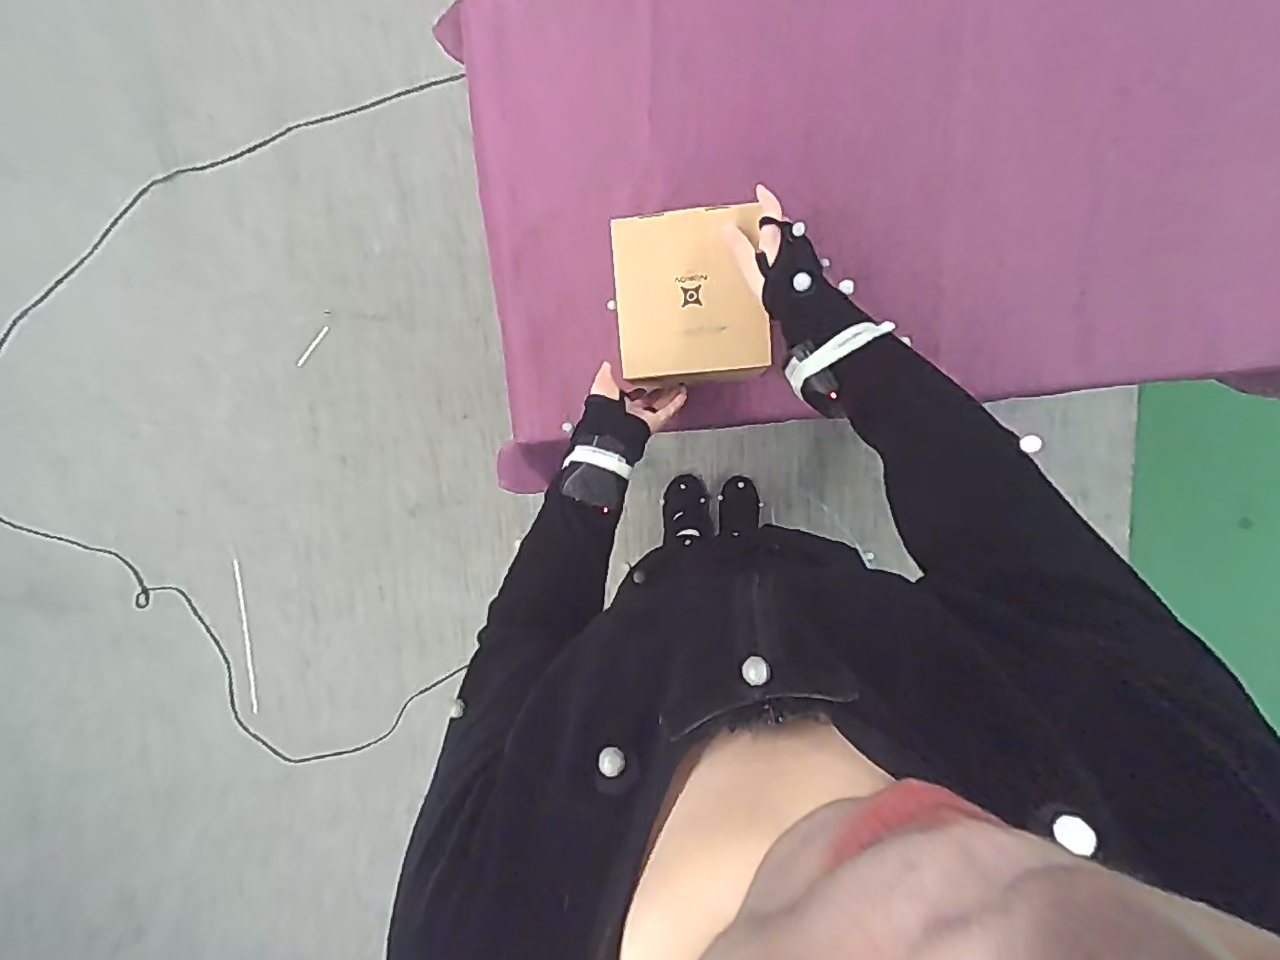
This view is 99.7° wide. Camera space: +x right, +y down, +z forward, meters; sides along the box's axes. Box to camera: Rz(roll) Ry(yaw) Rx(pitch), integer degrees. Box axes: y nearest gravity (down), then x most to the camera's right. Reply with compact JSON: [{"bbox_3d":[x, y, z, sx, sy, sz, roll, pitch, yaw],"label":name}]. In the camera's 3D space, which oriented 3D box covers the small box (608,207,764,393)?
[{"bbox_3d":[0.057,-0.208,0.670,0.168,0.176,0.179,-4,95,6],"label":"small box"}]
